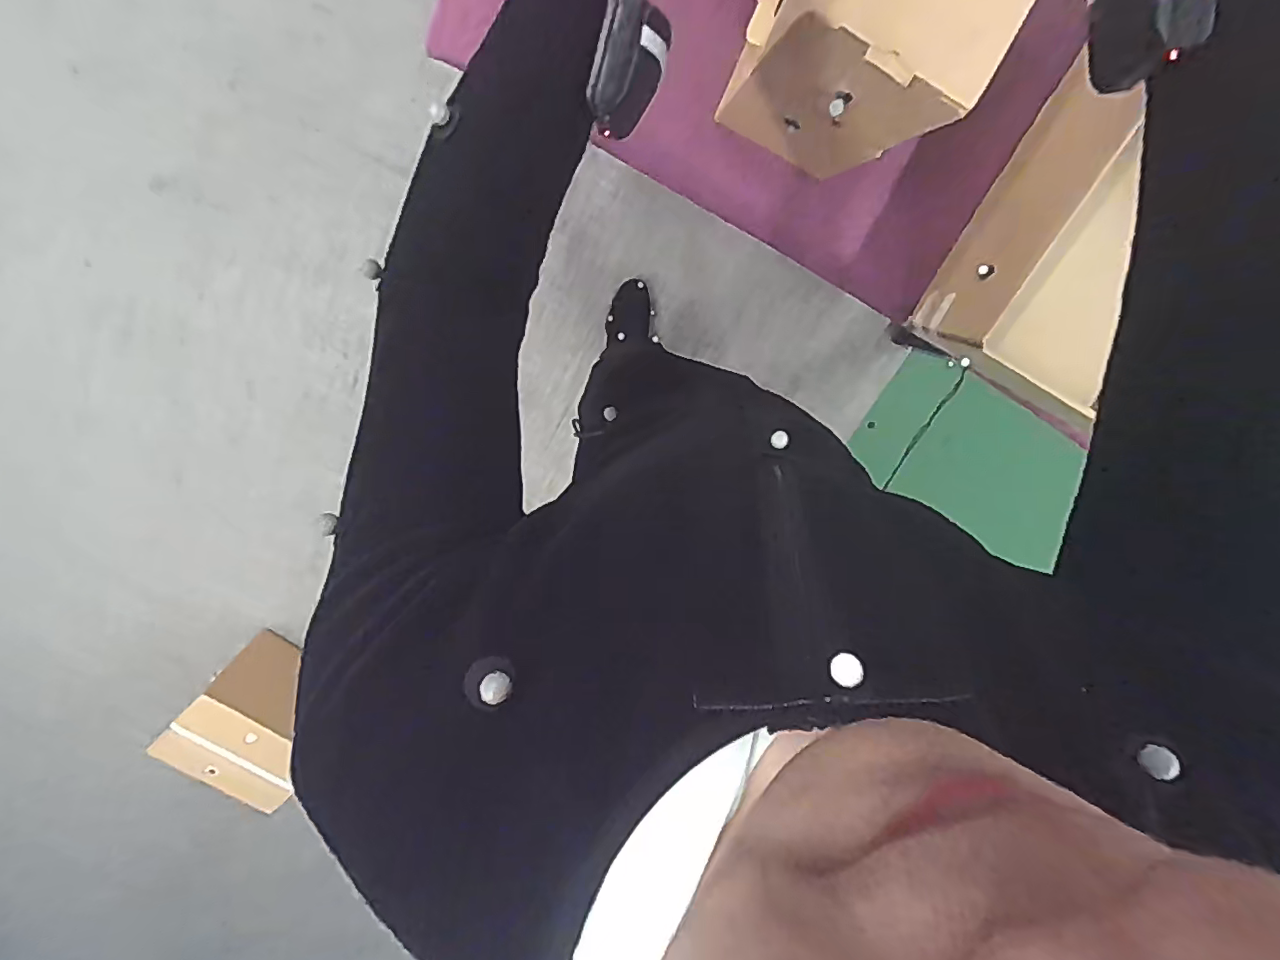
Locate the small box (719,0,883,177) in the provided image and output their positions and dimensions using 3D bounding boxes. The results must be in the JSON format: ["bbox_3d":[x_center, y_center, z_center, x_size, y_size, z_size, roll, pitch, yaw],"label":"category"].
[{"bbox_3d":[0.214,-0.490,0.645,0.179,0.176,0.168,21,108,-13],"label":"small box"}]

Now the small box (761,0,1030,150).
[{"bbox_3d":[0.229,-0.436,0.491,0.168,0.176,0.179,22,108,-13],"label":"small box"}]
